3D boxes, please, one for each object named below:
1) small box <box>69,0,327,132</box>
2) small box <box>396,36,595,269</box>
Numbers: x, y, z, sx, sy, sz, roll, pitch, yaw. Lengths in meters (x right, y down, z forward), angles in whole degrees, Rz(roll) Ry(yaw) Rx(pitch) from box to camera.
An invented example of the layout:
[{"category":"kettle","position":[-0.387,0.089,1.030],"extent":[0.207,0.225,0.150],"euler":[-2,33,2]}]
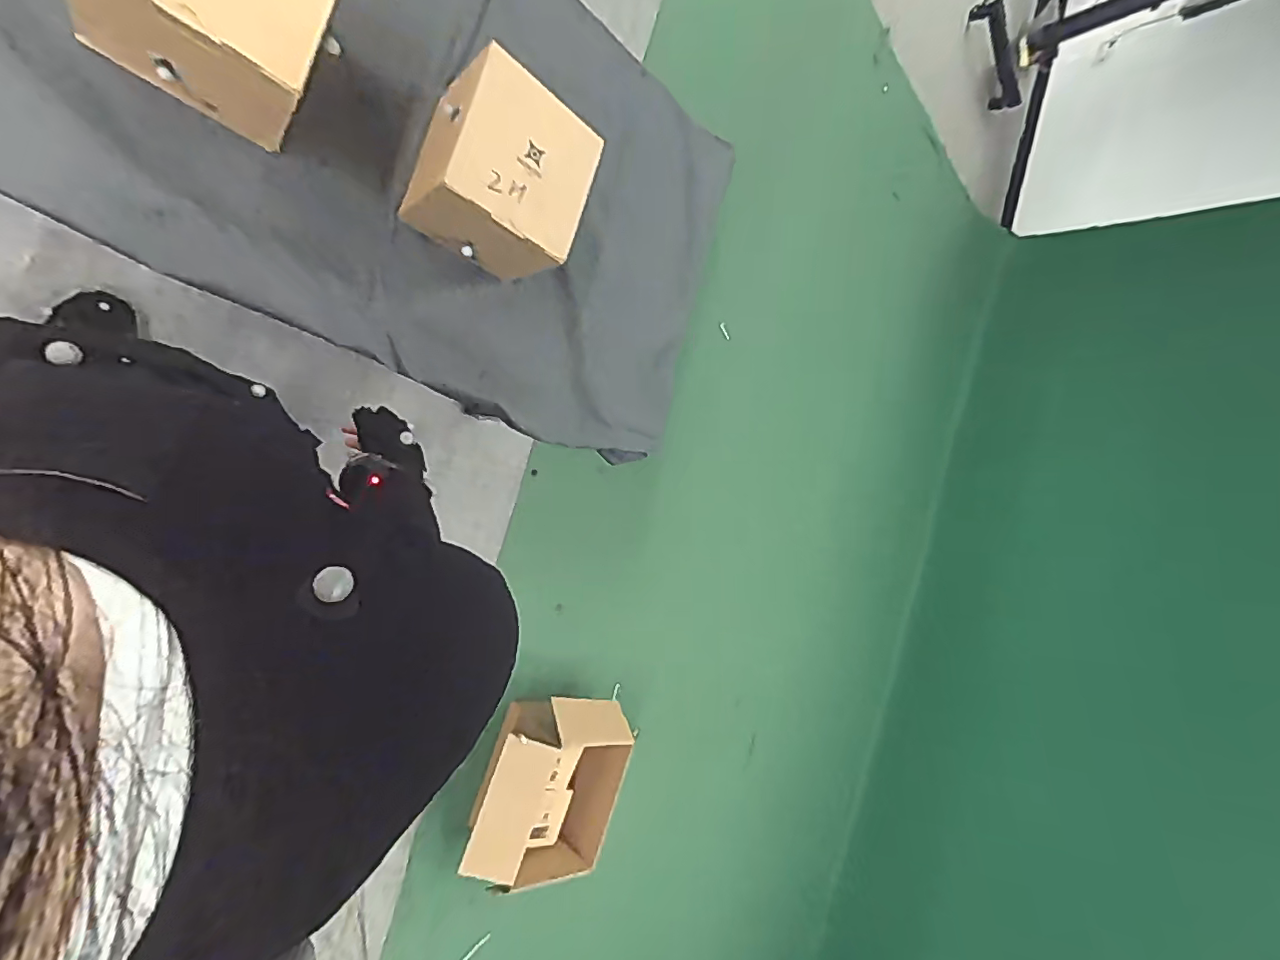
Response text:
[{"category":"small box","position":[-0.400,-0.475,0.501],"extent":[0.168,0.176,0.179],"euler":[21,85,-43]},{"category":"small box","position":[-0.191,-0.401,0.701],"extent":[0.168,0.176,0.179],"euler":[21,85,-42]}]
